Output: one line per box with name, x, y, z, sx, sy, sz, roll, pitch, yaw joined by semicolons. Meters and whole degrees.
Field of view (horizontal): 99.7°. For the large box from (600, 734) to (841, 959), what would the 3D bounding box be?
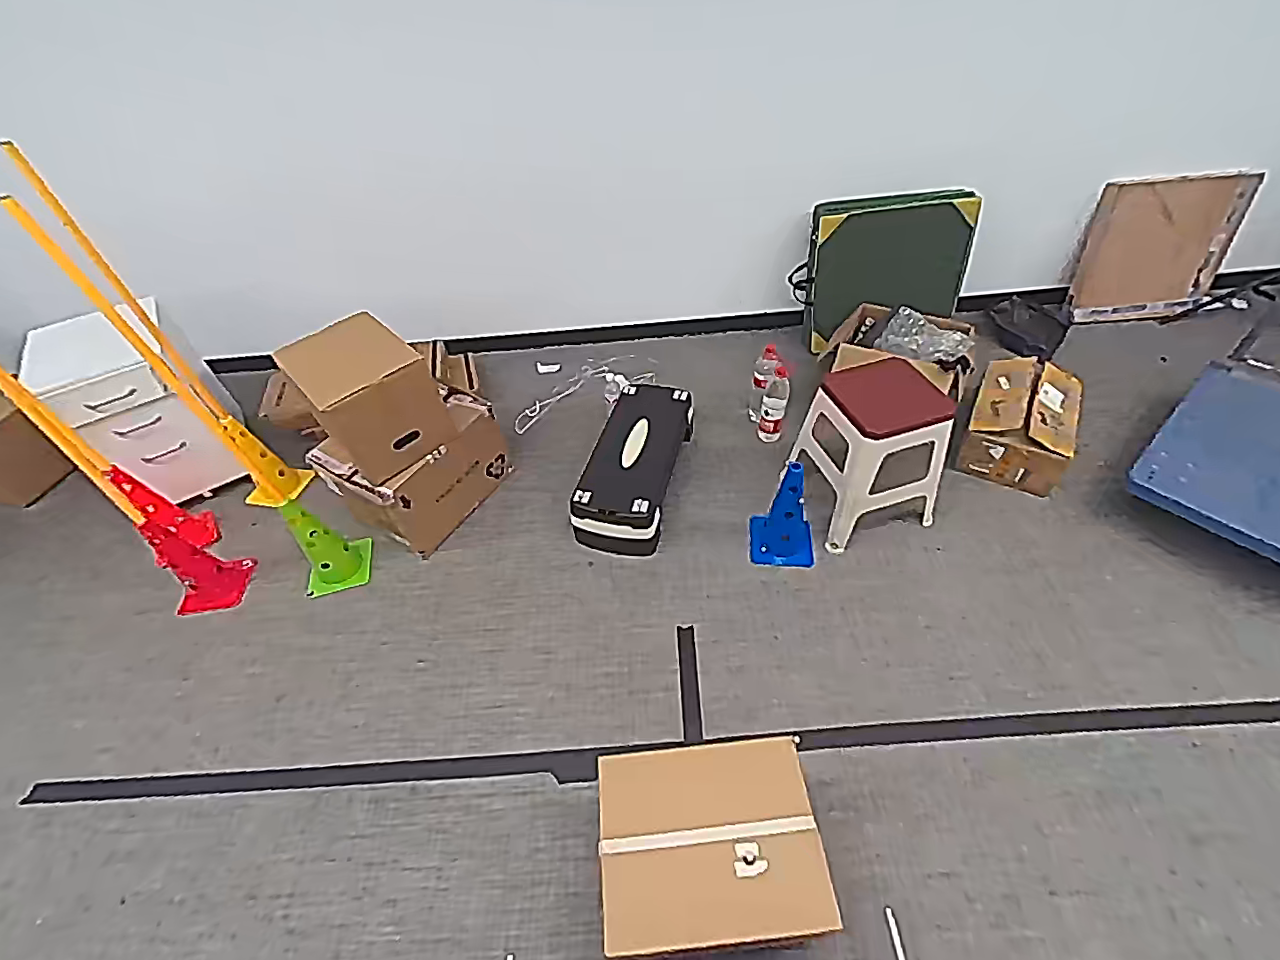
large box;0.137;0.760;1.116;0.408;0.320;0.320;-6;47;-2
